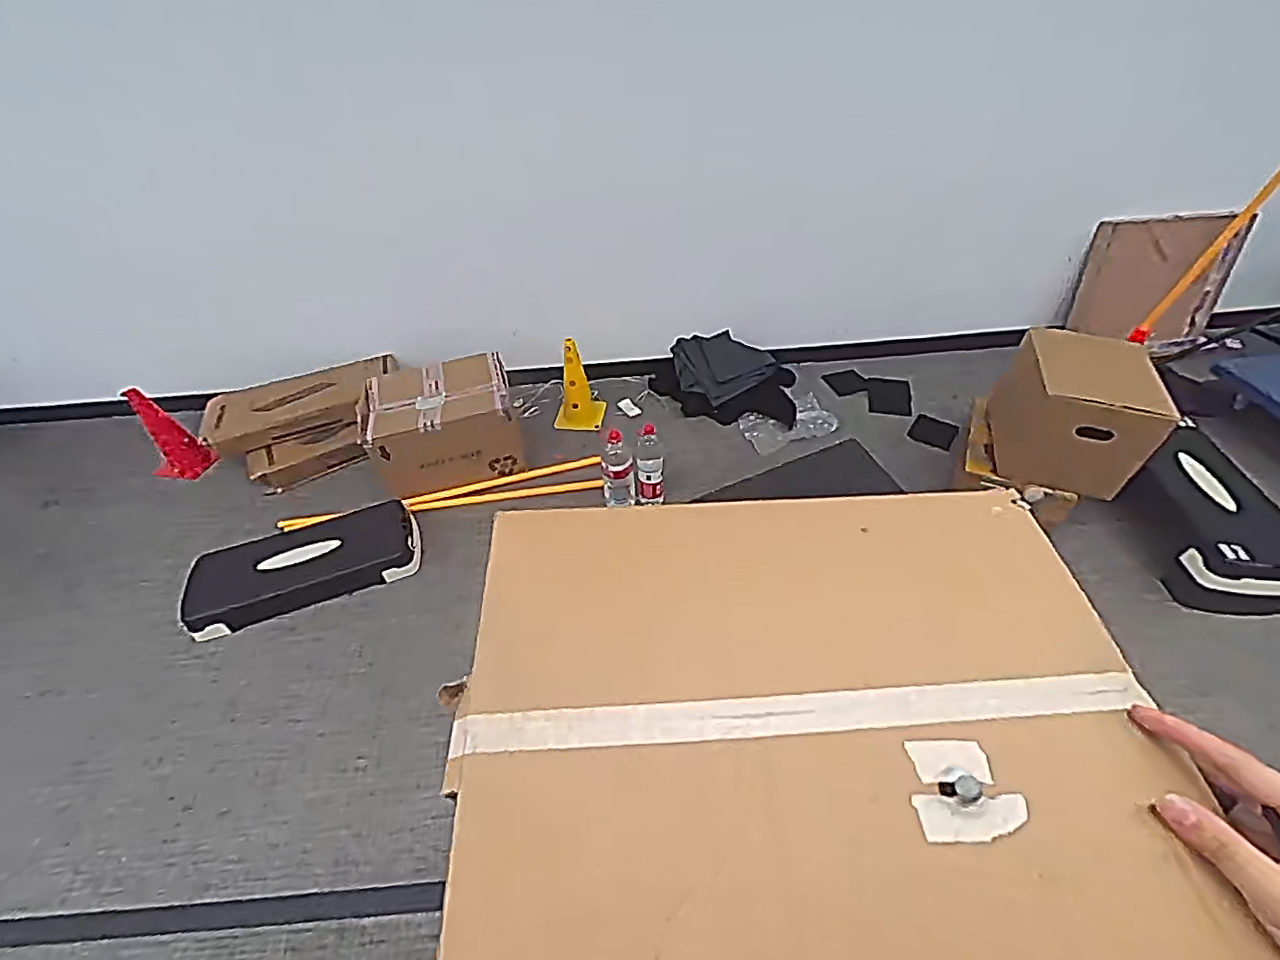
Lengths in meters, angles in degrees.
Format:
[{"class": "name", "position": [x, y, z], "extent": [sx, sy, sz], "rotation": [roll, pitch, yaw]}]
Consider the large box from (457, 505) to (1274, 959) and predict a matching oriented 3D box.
[{"class": "large box", "position": [0.097, 0.242, 0.443], "extent": [0.408, 0.320, 0.320], "rotation": [-2, 52, -3]}]
